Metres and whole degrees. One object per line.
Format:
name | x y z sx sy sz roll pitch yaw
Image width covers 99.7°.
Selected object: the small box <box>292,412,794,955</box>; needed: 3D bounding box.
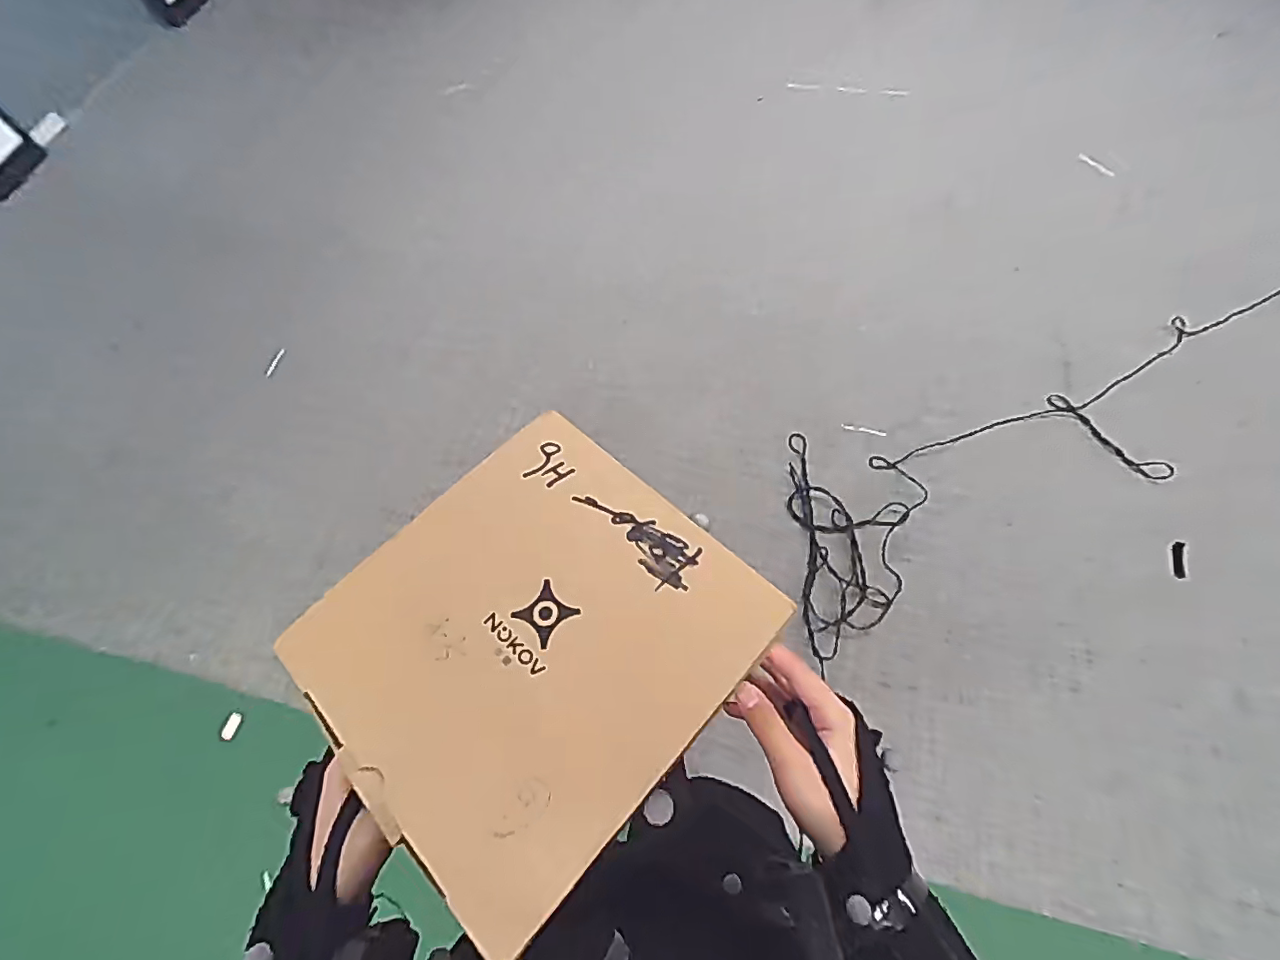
small box | -0.039 0.103 0.313 0.168 0.176 0.179 39 71 22
